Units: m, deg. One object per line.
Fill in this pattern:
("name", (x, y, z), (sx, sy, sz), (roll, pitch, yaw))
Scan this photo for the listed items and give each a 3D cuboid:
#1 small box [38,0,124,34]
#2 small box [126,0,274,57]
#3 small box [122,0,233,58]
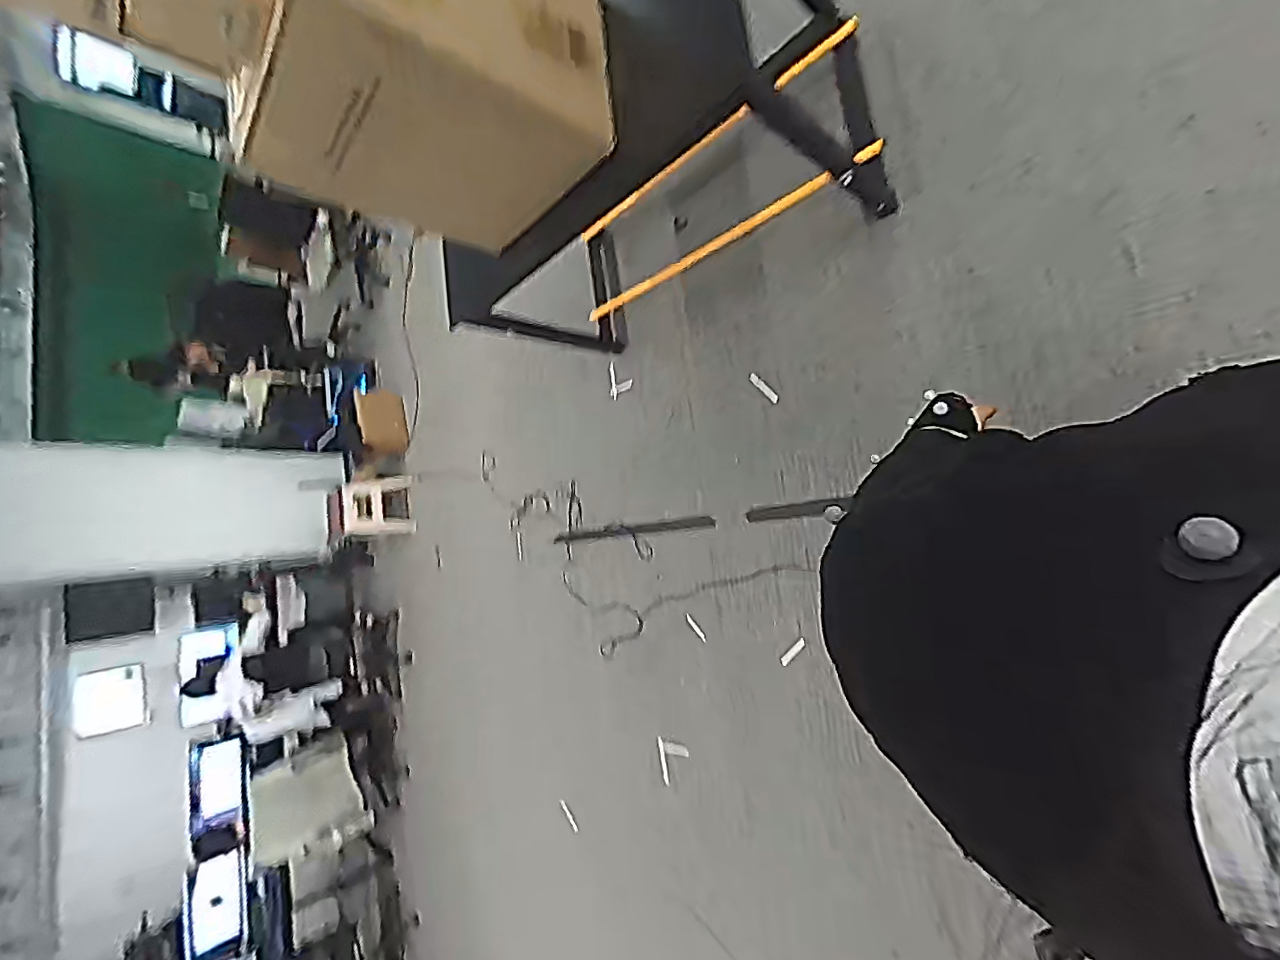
("small box", (-0.979, -0.915, 0.902), (0.168, 0.176, 0.179), (-17, 78, 45))
("small box", (-0.683, -0.822, 0.838), (0.168, 0.176, 0.179), (-9, 85, 47))
("small box", (-0.864, -0.949, 1.018), (0.168, 0.176, 0.179), (-13, 81, 44))
